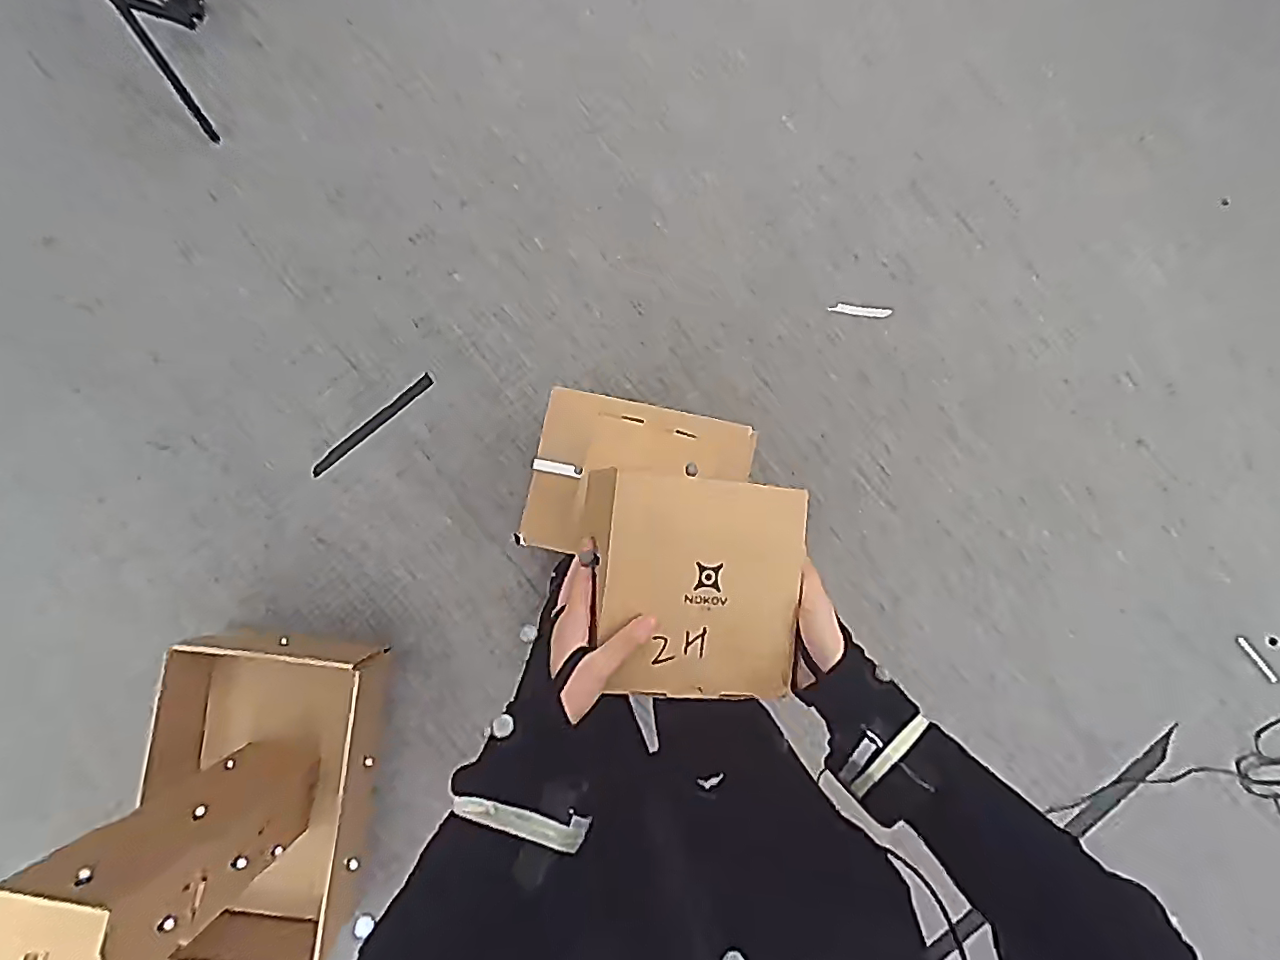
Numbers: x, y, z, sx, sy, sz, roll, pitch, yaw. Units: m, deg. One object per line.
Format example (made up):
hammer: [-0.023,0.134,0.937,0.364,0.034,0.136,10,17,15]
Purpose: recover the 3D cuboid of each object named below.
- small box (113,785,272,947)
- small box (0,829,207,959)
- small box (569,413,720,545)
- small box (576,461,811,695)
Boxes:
small box: [-0.809,0.678,0.971,0.179,0.176,0.168,11,85,-1]
small box: [-0.812,0.658,0.809,0.179,0.176,0.168,10,85,-1]
small box: [0.004,0.020,0.782,0.168,0.176,0.179,14,87,0]
small box: [0.037,0.082,0.509,0.168,0.176,0.179,8,88,-12]
